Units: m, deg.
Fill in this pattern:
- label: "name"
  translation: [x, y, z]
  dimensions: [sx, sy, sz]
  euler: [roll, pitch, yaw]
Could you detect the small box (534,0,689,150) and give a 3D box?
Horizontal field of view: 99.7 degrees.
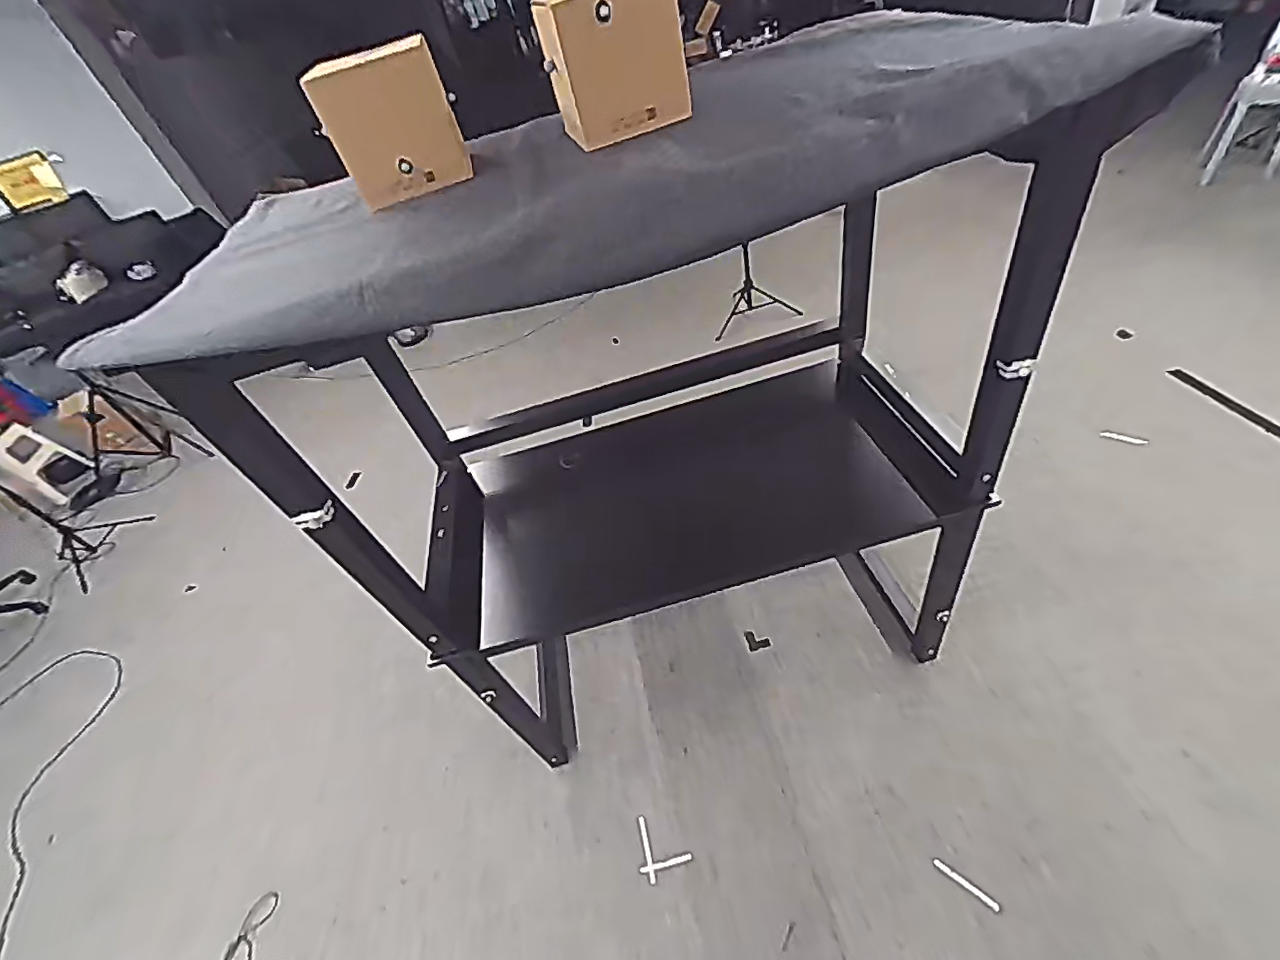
- label: "small box"
  translation: [-0.041, -0.605, 0.789]
  dimensions: [0.168, 0.176, 0.179]
  euler: [-21, 43, -3]
